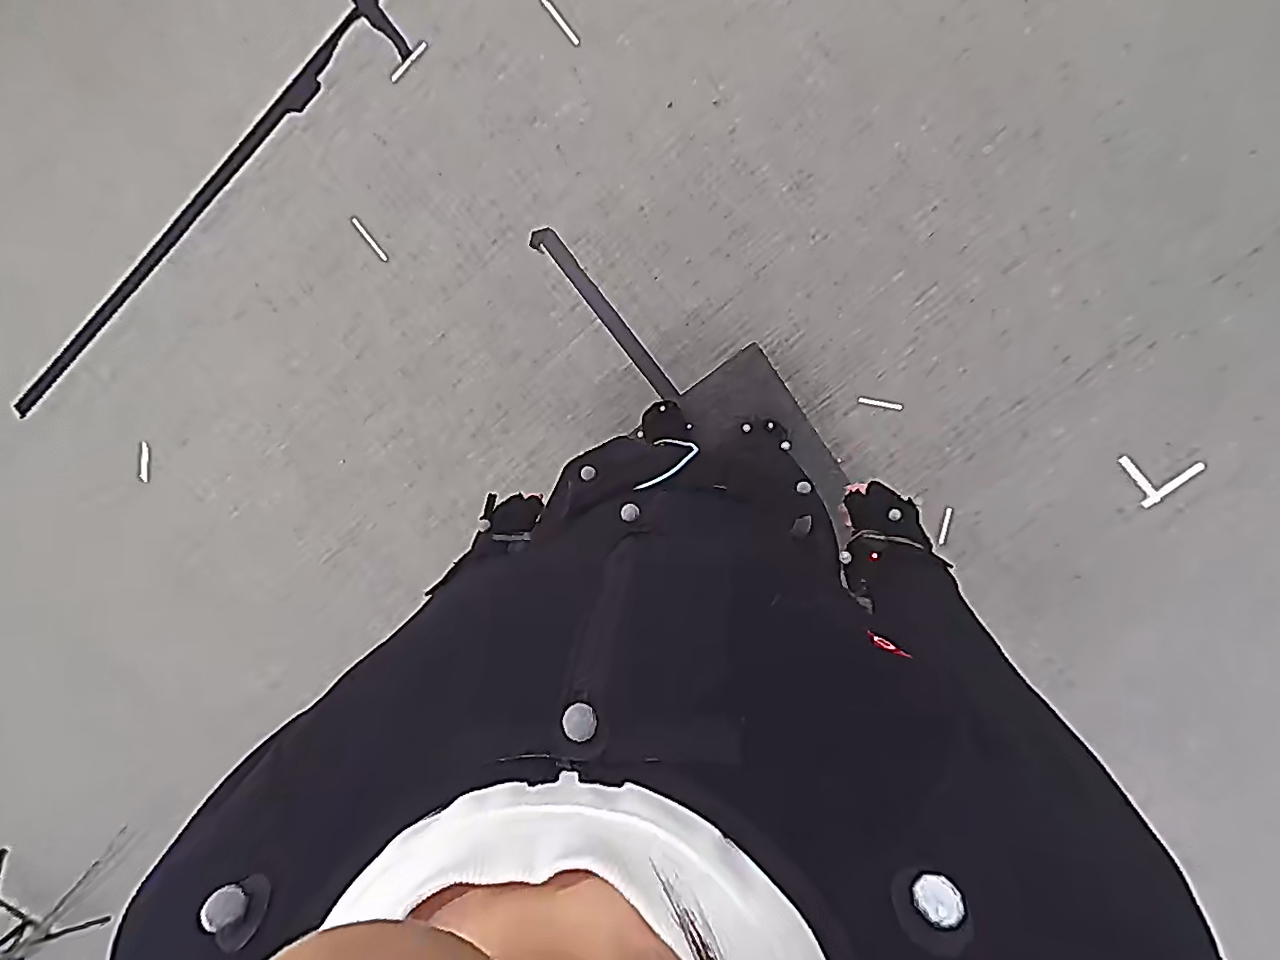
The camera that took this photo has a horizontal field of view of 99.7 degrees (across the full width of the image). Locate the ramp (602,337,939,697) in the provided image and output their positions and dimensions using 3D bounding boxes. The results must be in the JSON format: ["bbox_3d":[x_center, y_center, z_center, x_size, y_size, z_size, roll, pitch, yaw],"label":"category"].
[{"bbox_3d":[0.388,0.151,1.504,0.509,0.206,0.991,-38,94,10],"label":"ramp"}]
